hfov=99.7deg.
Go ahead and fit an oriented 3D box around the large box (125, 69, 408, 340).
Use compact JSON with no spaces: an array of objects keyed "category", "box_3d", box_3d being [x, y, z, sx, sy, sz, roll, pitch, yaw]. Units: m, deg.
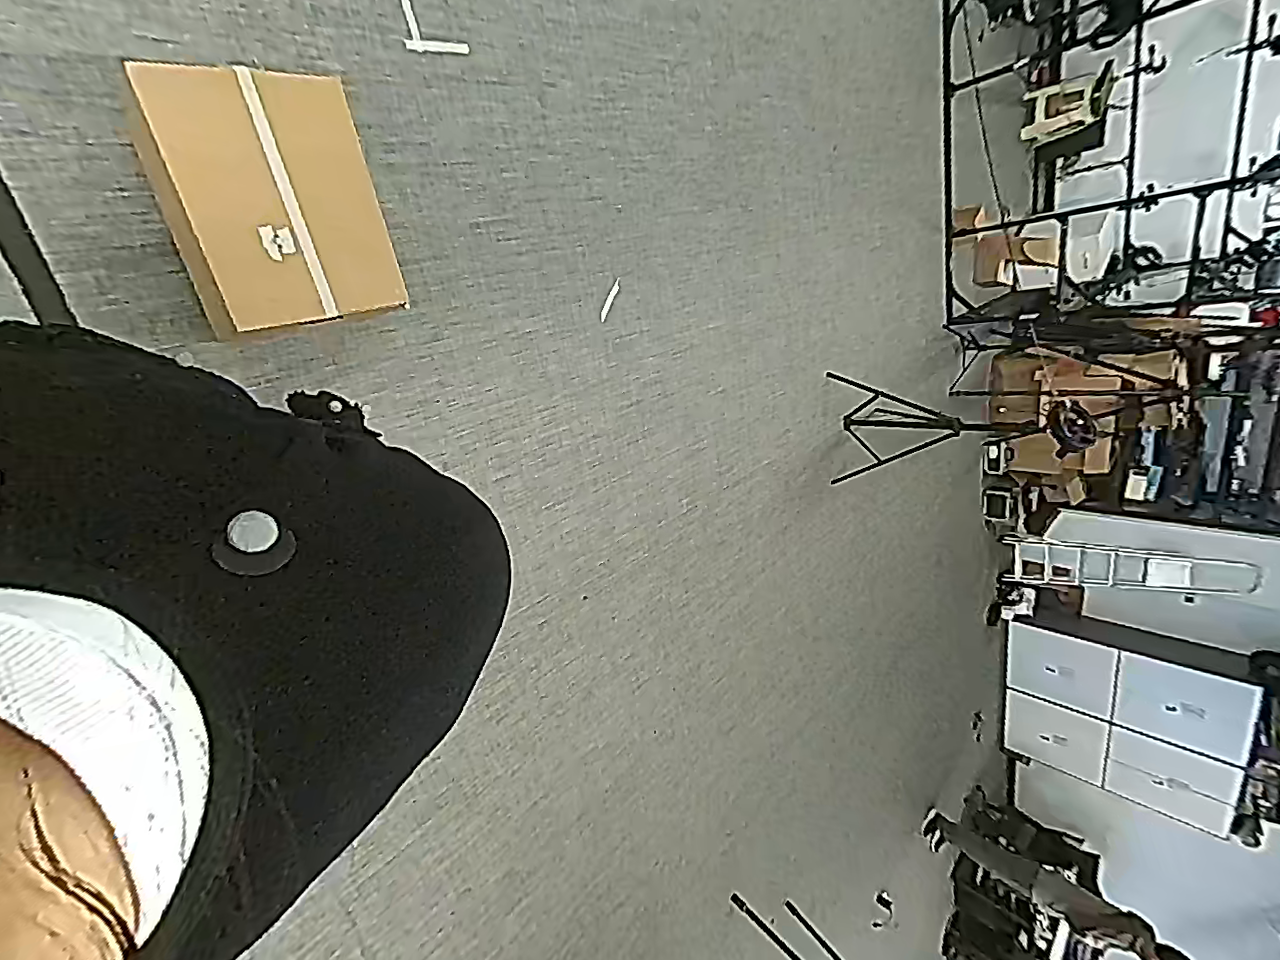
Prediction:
[{"category":"large box","box_3d":[-0.732,-0.516,1.077,0.320,0.320,0.408,-27,115,-36]}]
